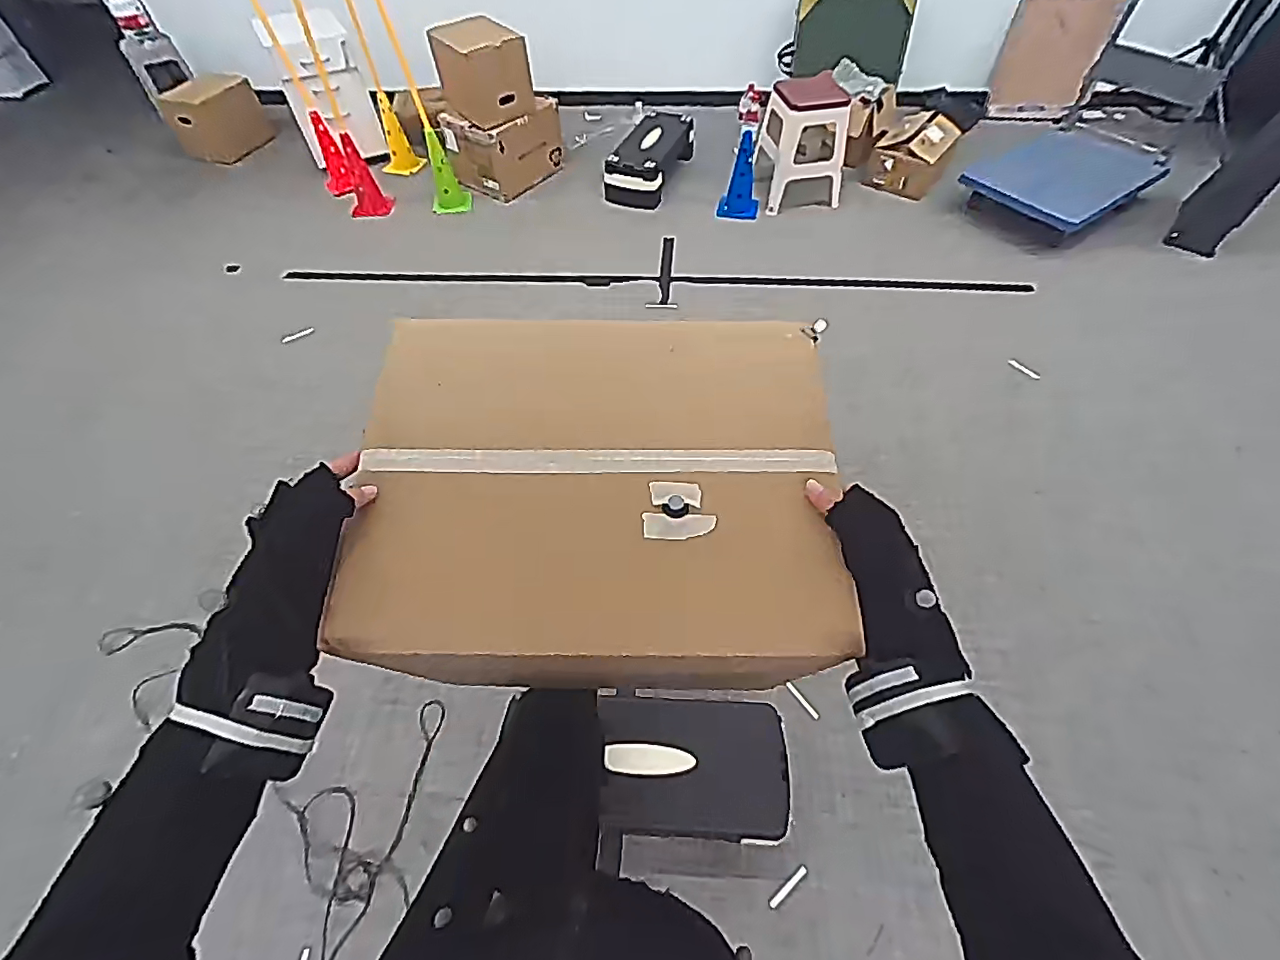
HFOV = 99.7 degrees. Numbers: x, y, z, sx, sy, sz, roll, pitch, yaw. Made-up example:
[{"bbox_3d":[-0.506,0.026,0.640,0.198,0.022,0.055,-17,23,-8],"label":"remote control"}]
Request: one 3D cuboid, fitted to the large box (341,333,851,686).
[{"bbox_3d":[-0.035,0.054,0.613,0.408,0.320,0.320,1,65,0],"label":"large box"}]
